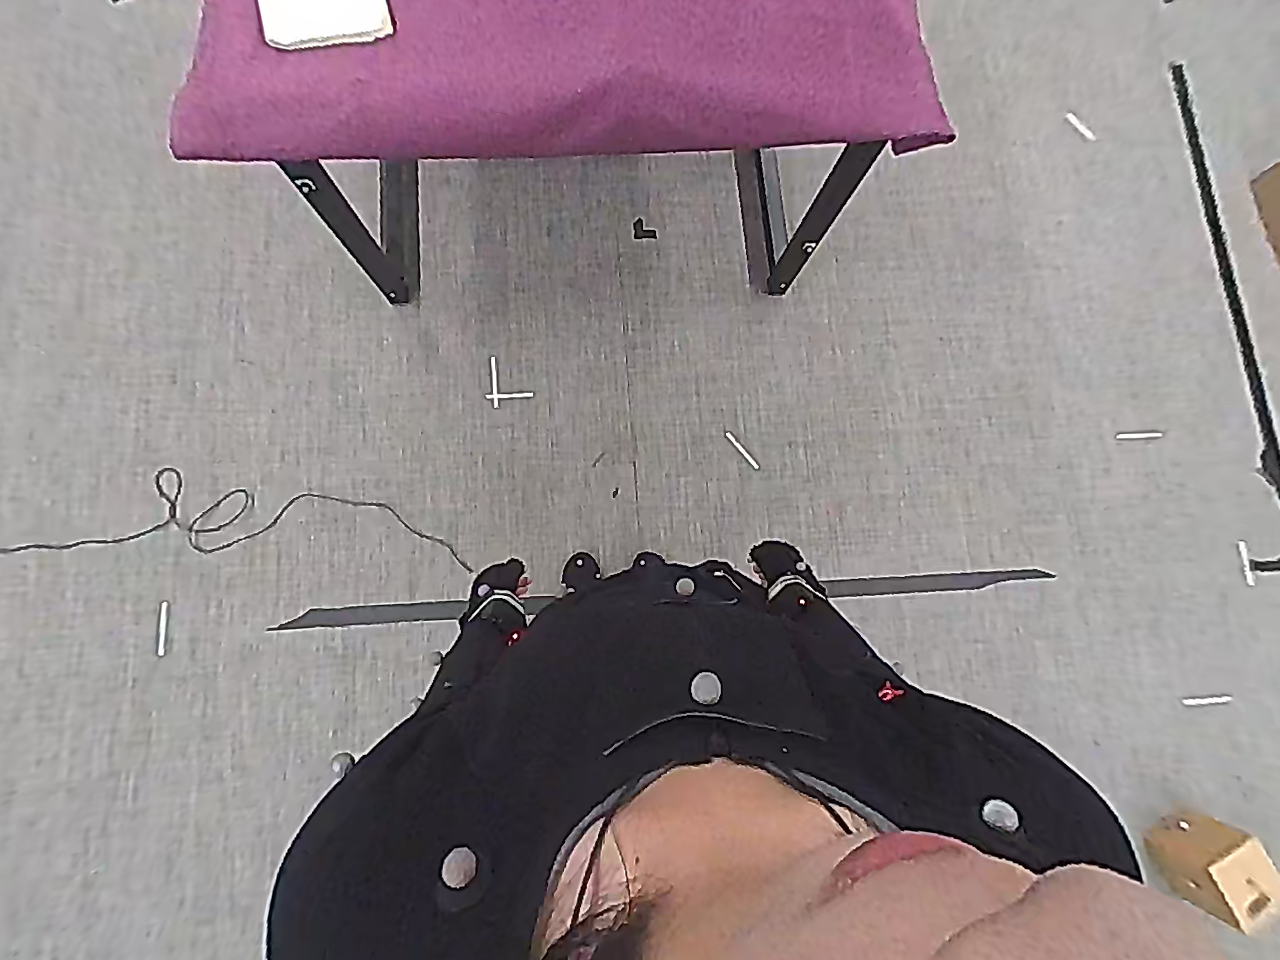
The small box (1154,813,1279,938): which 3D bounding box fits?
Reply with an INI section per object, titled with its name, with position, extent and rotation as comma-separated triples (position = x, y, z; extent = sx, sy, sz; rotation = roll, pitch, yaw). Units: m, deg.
[small box]
position = 1.536, 1.029, 1.424
extent = 0.168, 0.176, 0.179
rotation = -26, 83, -8
